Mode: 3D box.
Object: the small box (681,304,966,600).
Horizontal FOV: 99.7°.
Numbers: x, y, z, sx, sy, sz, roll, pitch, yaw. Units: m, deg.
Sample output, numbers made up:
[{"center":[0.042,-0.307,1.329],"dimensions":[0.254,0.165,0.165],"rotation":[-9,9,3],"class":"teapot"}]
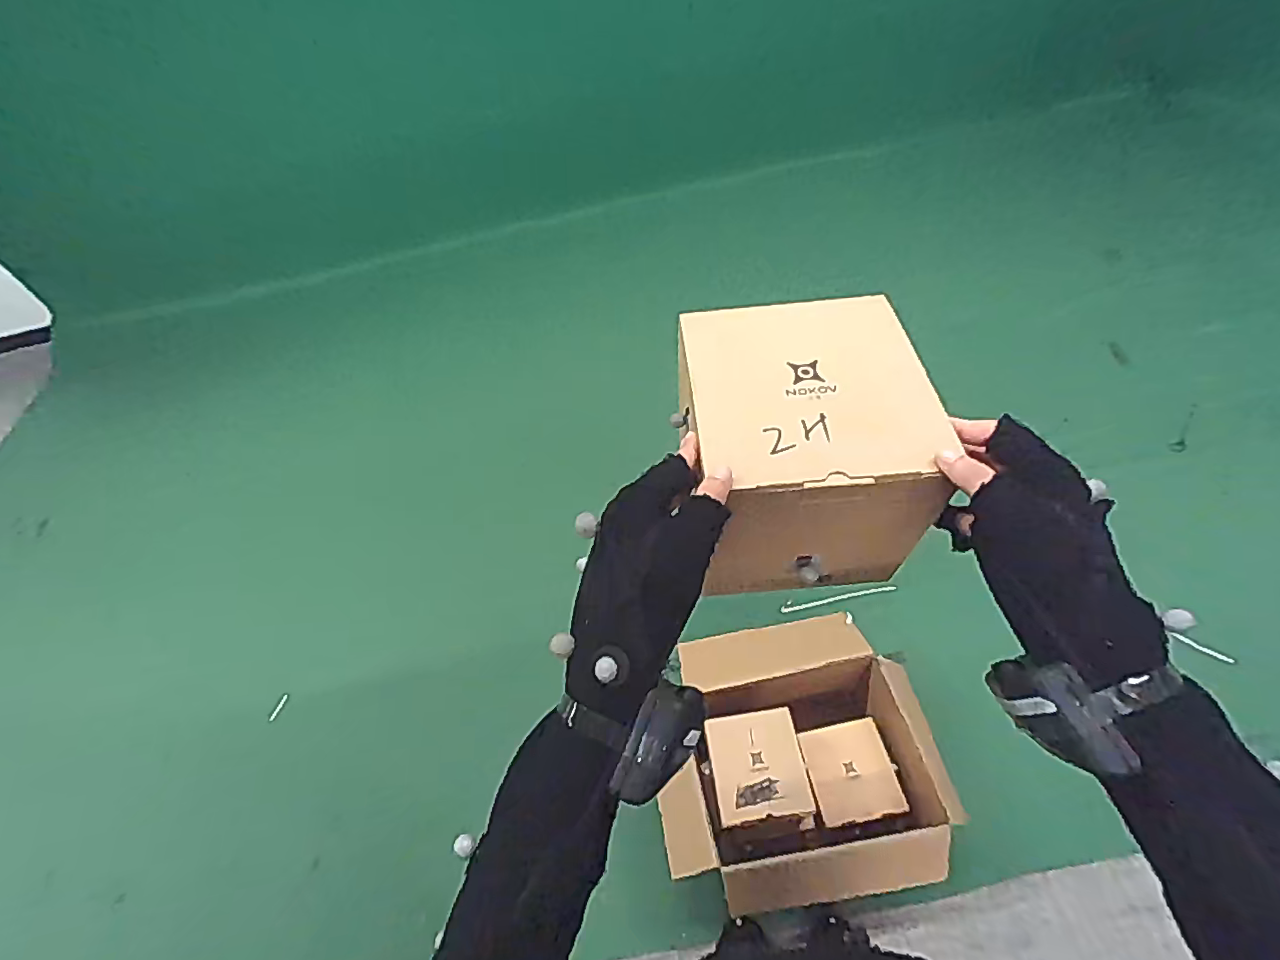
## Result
[{"center":[0.122,-0.019,0.449],"dimensions":[0.168,0.176,0.179],"rotation":[-5,55,2],"class":"small box"}]
